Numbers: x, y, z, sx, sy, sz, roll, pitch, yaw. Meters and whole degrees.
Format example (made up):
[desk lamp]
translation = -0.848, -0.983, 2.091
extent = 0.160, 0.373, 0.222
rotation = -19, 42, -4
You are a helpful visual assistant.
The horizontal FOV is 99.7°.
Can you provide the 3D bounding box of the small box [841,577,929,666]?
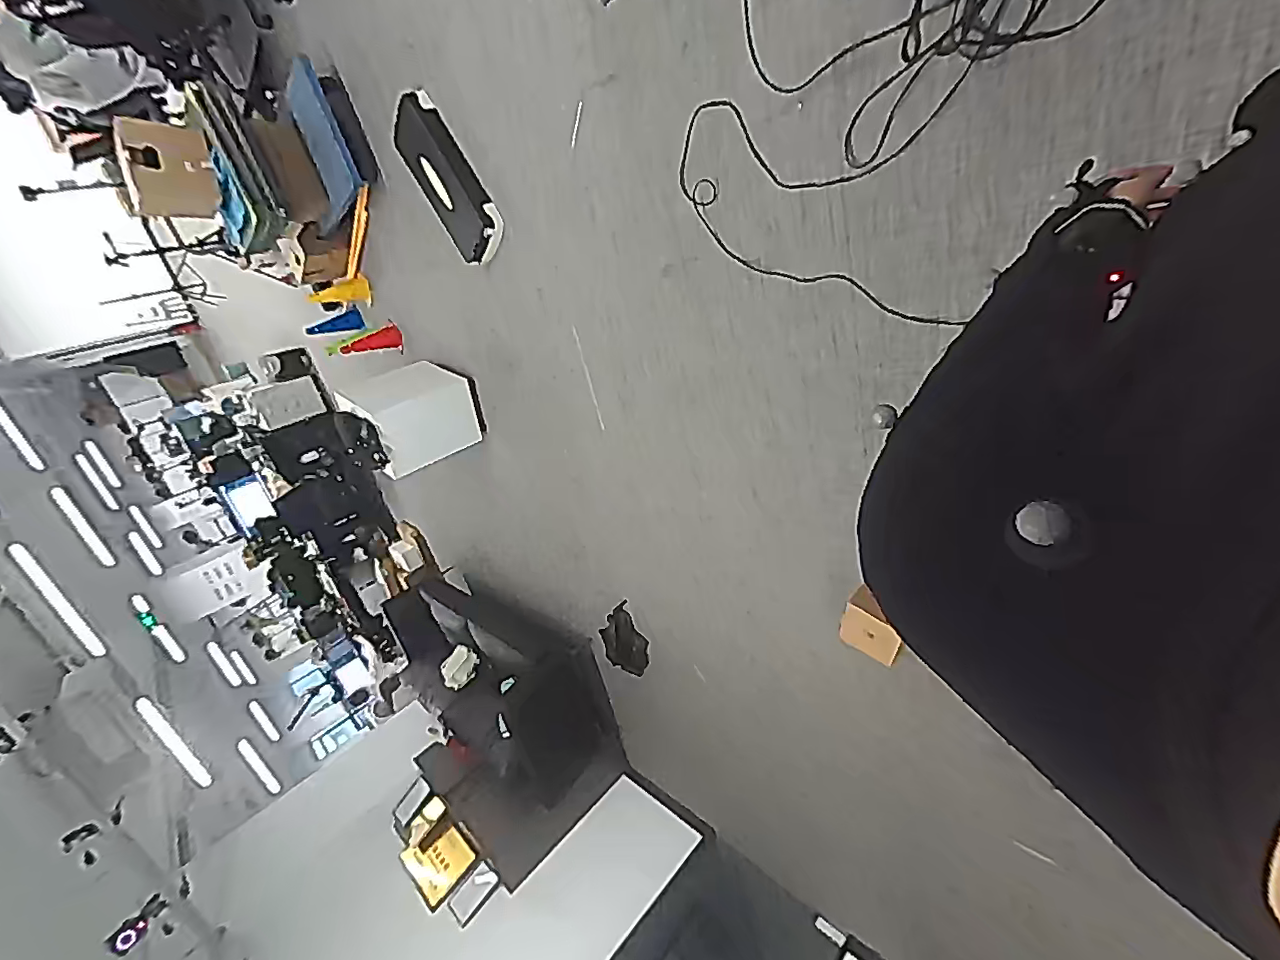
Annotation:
[small box]
translation = 0.752, 0.425, 1.664
extent = 0.179, 0.176, 0.168
rotation = 28, 136, 35
